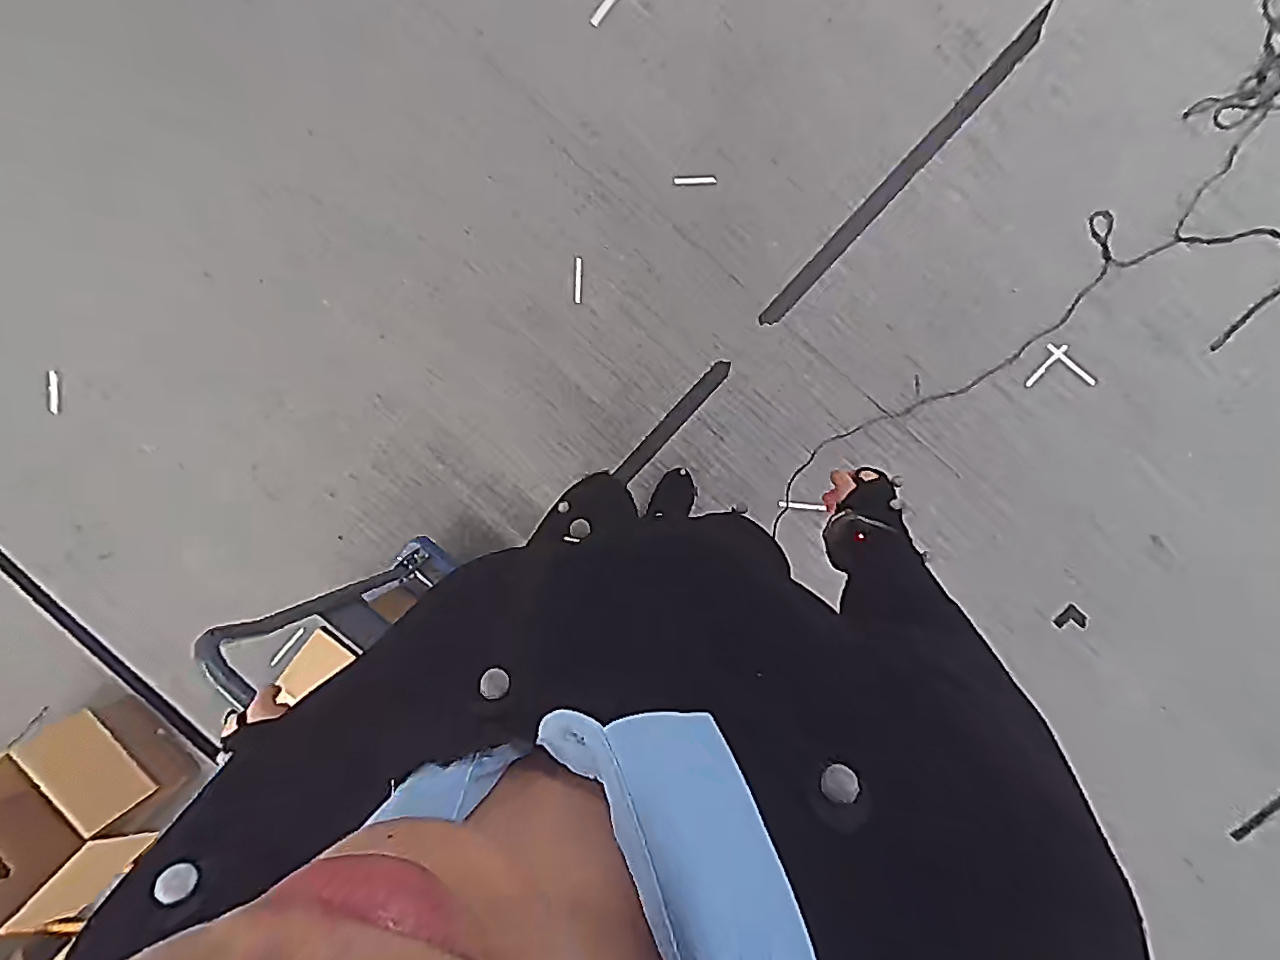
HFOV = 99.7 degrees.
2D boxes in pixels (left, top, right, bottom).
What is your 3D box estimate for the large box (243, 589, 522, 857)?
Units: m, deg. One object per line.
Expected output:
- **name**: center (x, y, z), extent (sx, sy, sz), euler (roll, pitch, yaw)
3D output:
- **large box**: center (-0.549, 0.518, 1.227), extent (0.408, 0.320, 0.320), euler (38, 95, 1)
